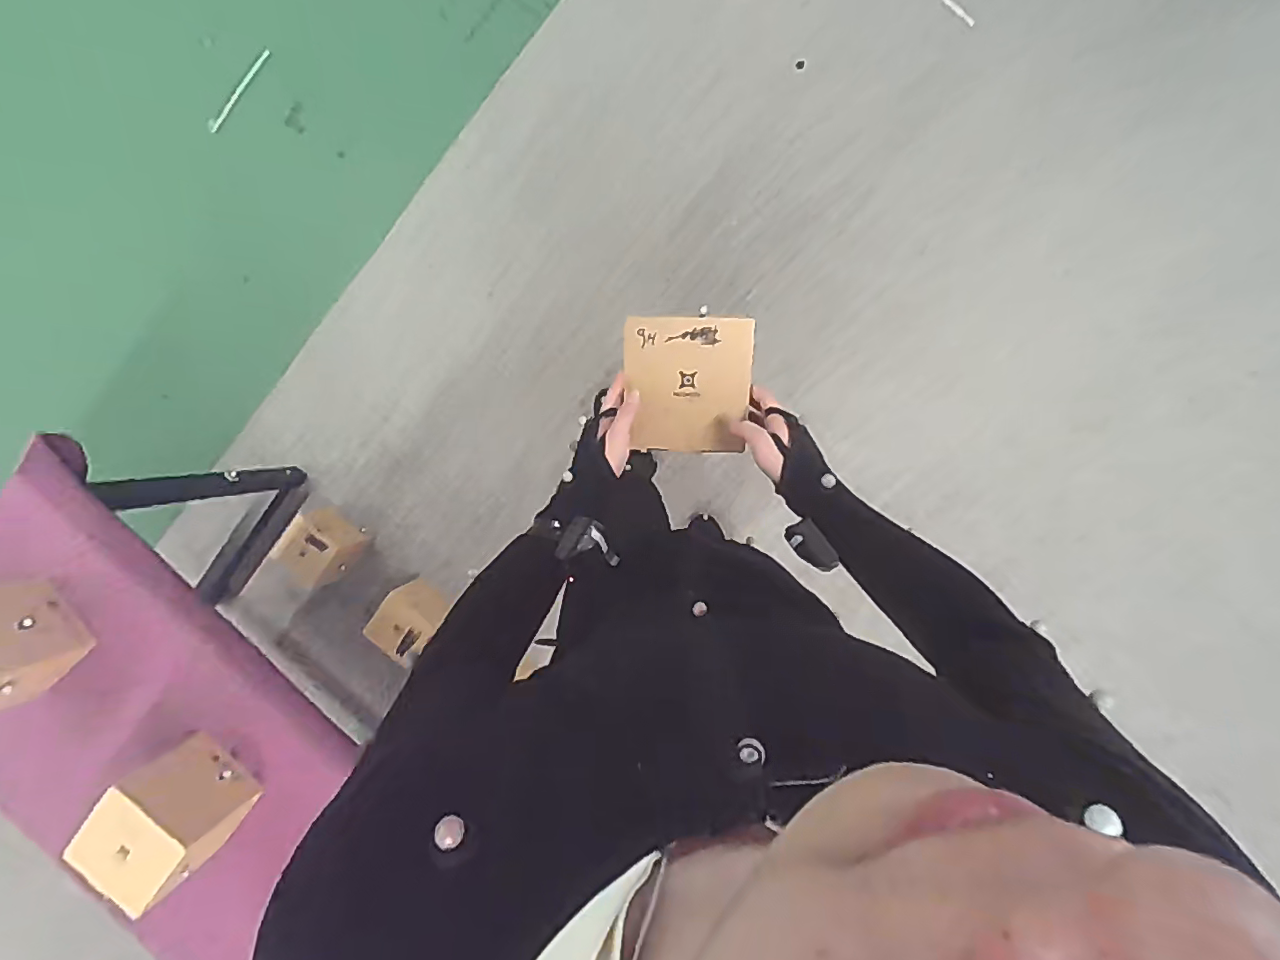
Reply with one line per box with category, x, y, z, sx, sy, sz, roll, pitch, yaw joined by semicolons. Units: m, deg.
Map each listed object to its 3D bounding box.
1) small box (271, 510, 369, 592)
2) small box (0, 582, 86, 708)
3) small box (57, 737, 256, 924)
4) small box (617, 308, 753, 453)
small box;-0.977;0.210;1.672;0.168;0.176;0.179;39;99;3
small box;-1.170;0.309;0.970;0.179;0.176;0.168;-39;89;8
small box;-0.834;0.603;0.951;0.168;0.176;0.179;40;97;2
small box;0.060;-0.148;0.766;0.168;0.176;0.179;3;108;3
